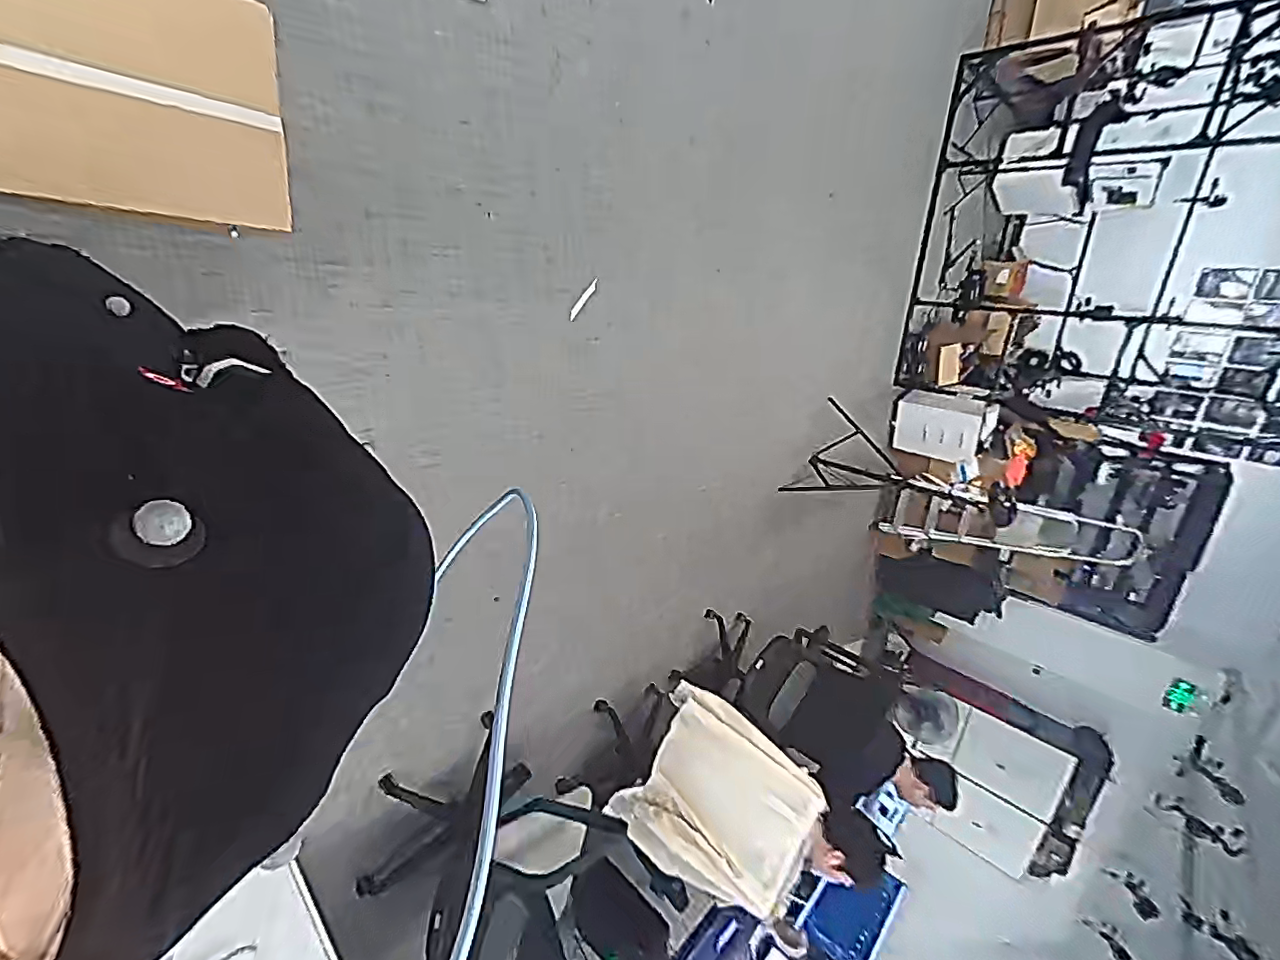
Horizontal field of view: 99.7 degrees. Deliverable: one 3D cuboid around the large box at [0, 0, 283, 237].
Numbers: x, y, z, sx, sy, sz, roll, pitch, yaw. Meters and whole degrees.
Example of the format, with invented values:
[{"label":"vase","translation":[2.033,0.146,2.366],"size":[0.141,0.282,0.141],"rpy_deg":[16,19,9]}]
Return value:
[{"label":"large box","translation":[-0.822,-0.554,0.805],"size":[0.408,0.320,0.320],"rpy_deg":[-14,115,-46]}]
